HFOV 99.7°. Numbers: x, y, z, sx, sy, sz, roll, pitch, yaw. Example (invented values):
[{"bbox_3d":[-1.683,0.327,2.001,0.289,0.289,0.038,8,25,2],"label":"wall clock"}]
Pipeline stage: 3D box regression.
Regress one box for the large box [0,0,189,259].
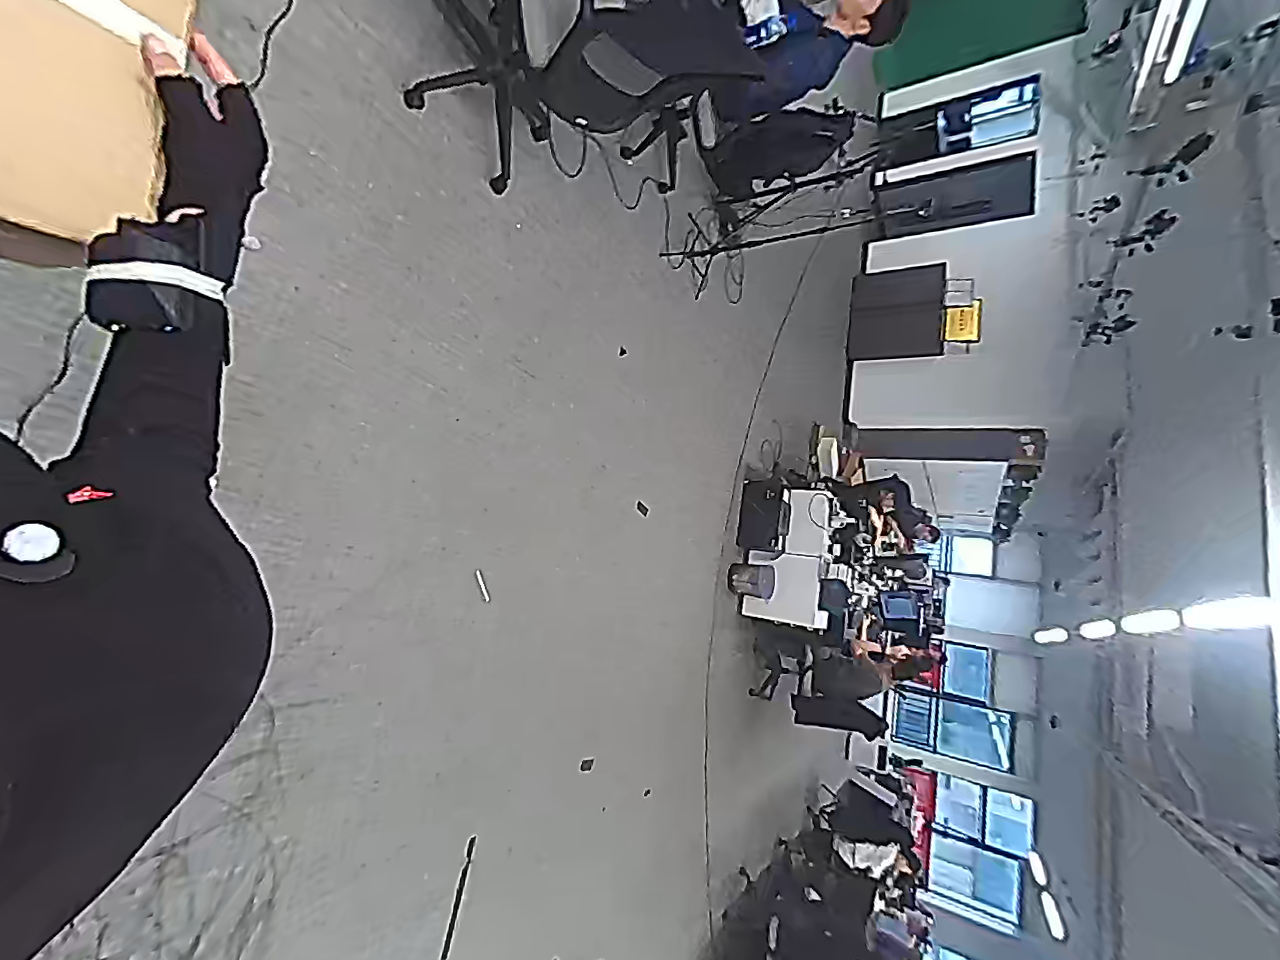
[{"bbox_3d":[-0.584,-0.363,0.321,0.408,0.320,0.320,8,95,-60],"label":"large box"}]
